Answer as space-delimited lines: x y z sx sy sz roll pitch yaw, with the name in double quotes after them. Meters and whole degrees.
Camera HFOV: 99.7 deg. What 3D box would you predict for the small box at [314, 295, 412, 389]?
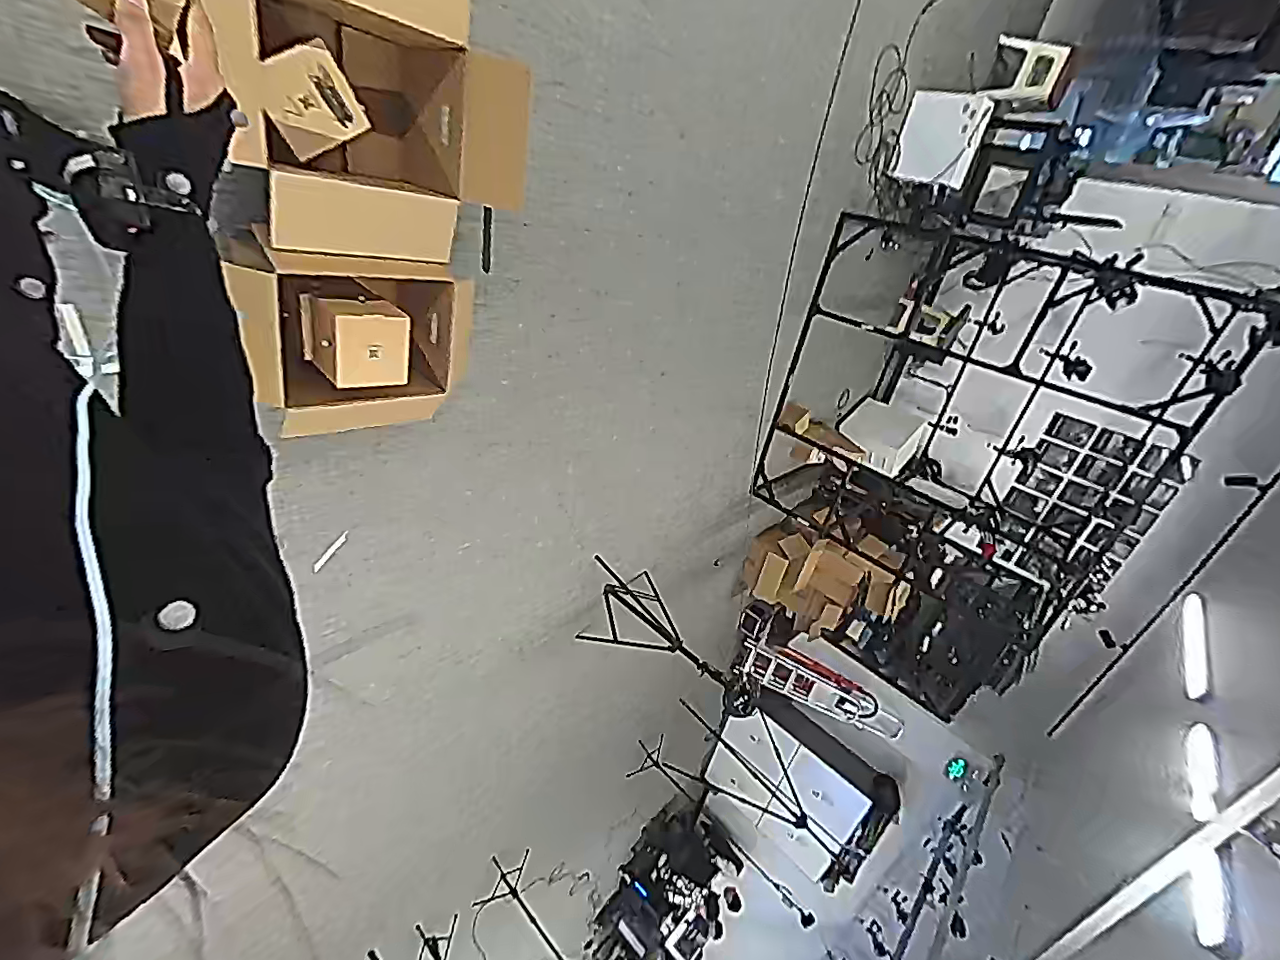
-0.678 -0.337 1.321 0.168 0.176 0.179 -15 129 -44 "small box"
